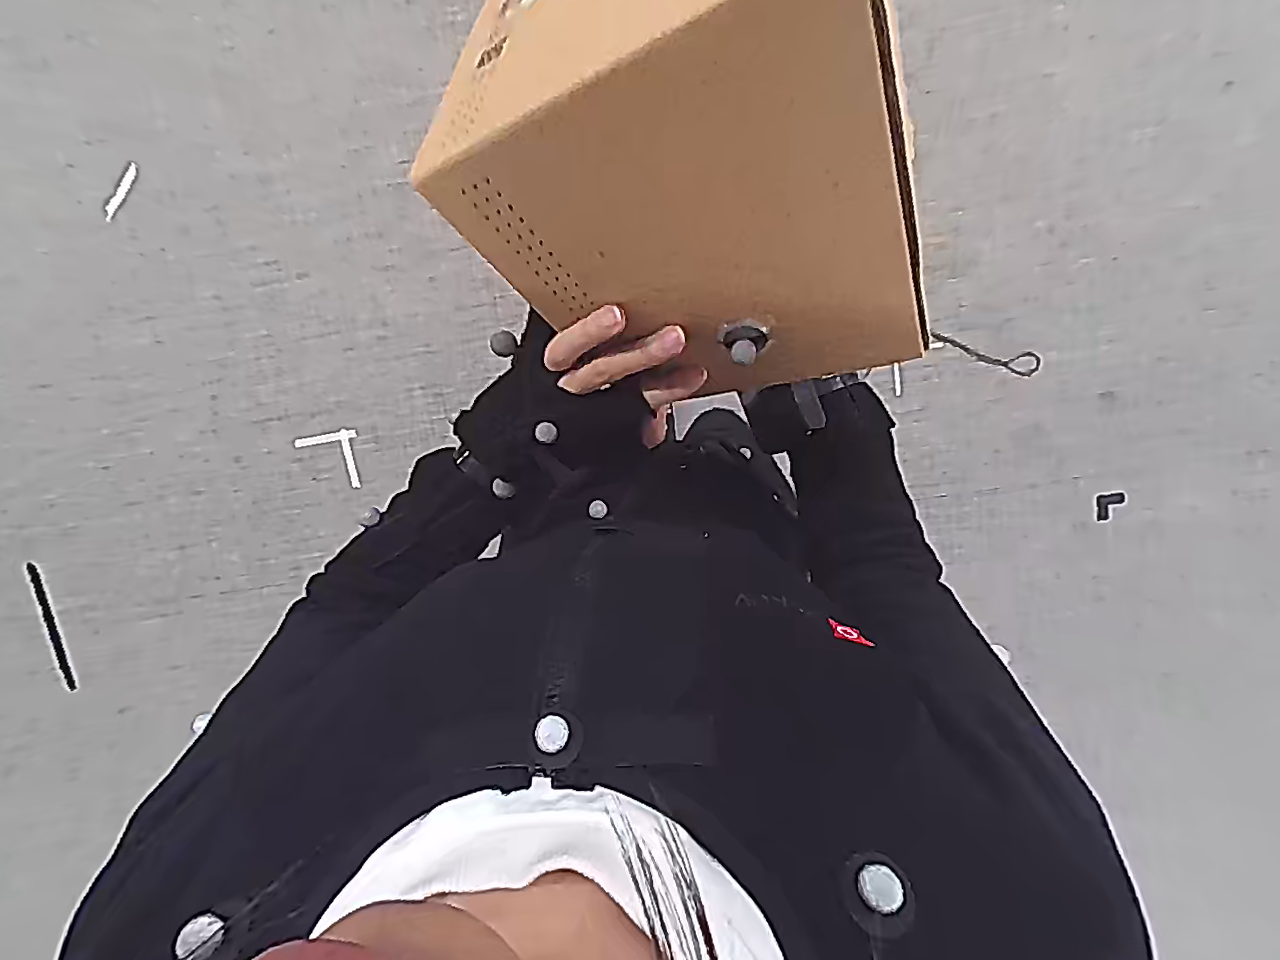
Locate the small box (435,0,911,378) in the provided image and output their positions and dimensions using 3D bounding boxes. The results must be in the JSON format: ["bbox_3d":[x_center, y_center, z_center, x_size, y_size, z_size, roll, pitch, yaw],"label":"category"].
[{"bbox_3d":[0.035,-0.168,0.278,0.176,0.179,0.168,-5,64,31],"label":"small box"}]
